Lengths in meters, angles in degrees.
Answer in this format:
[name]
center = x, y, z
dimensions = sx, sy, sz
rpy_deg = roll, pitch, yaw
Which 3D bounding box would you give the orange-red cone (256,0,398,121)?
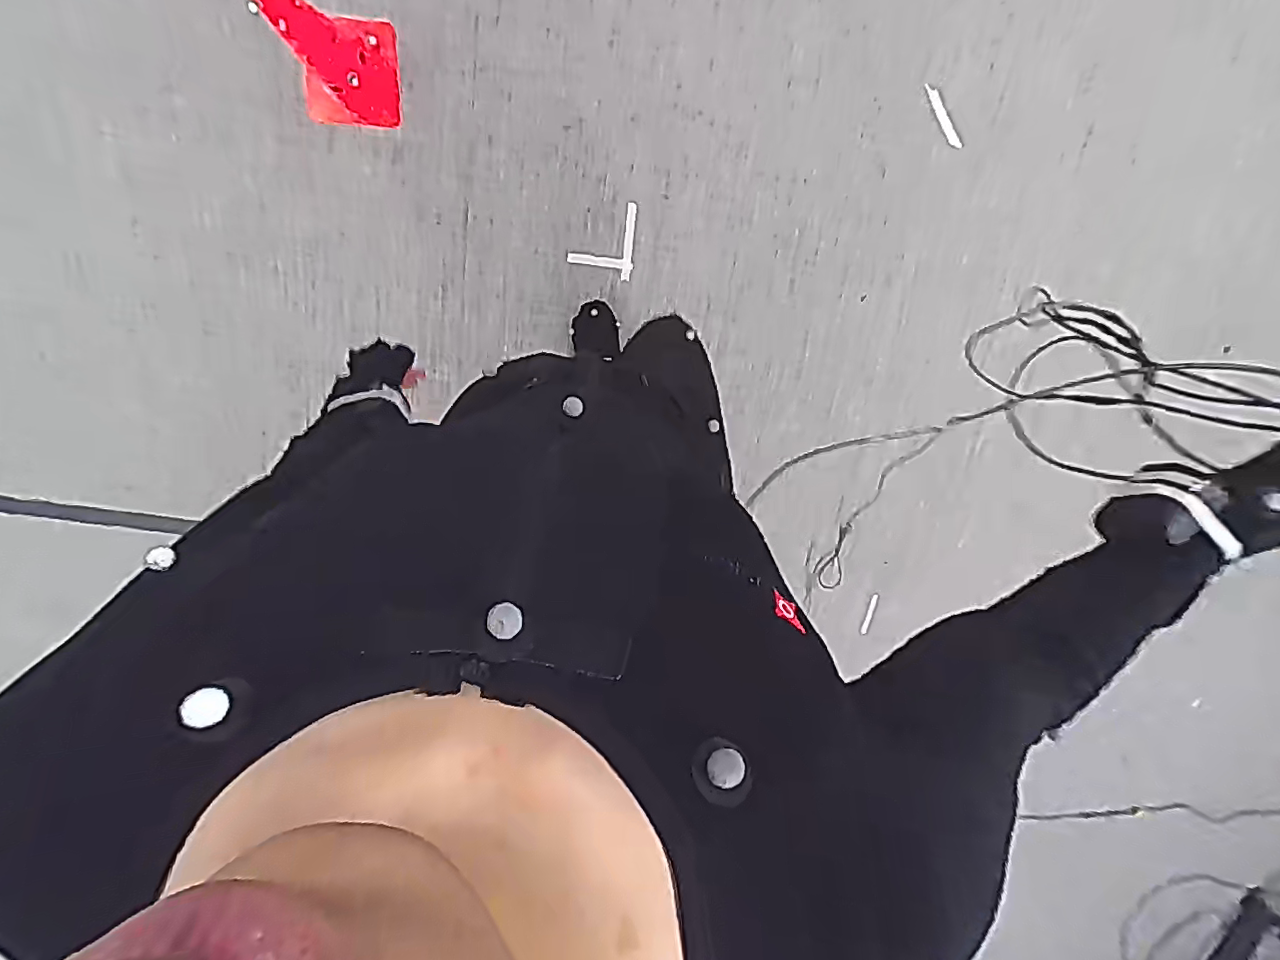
[orange-red cone]
center = -0.616, -0.840, 0.998
dimensions = 0.199, 0.360, 0.198
rpy_deg = 4, 107, -3
